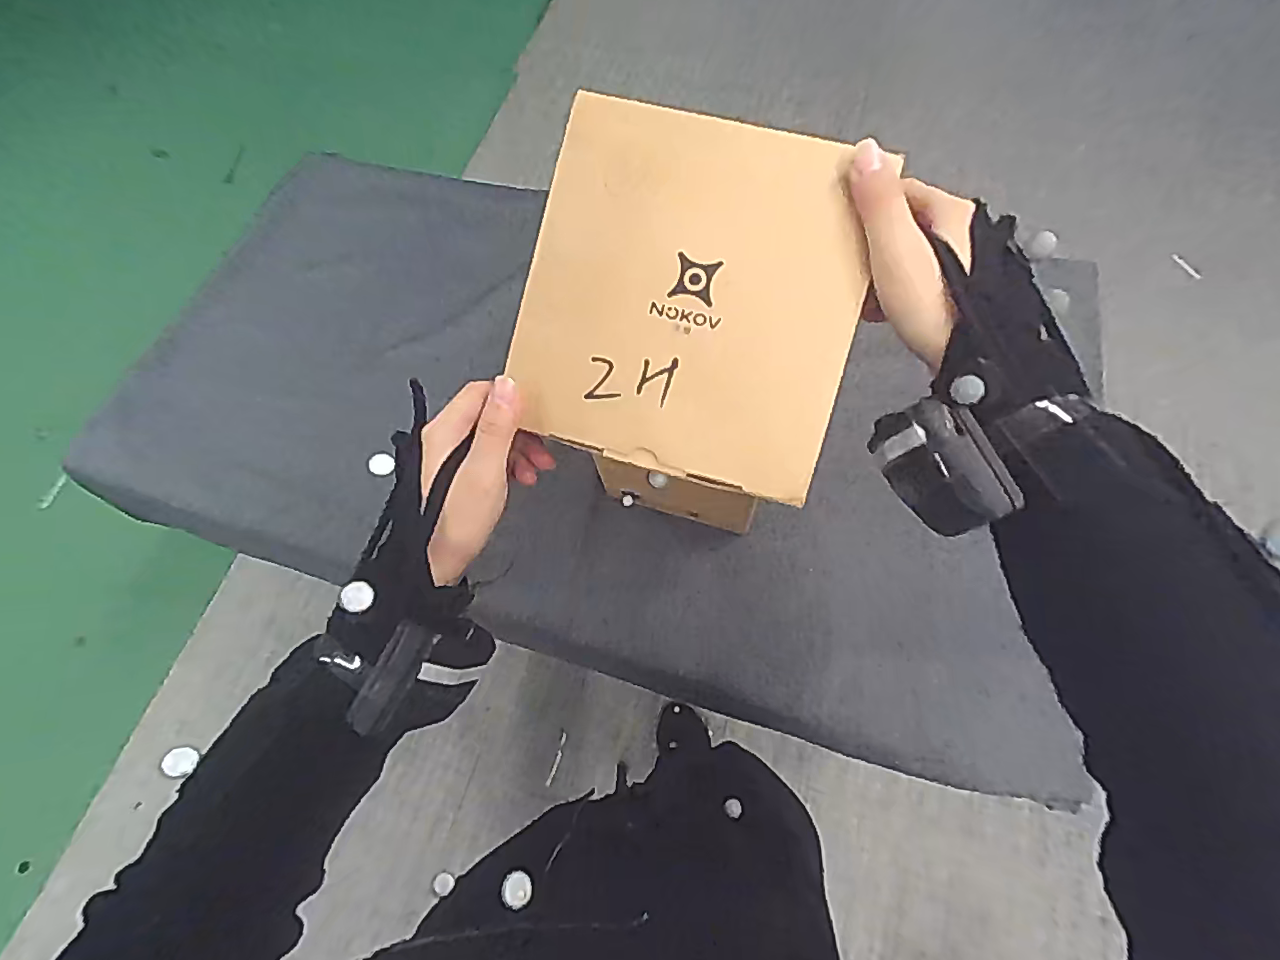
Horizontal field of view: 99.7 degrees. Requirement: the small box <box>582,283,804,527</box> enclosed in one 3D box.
[{"bbox_3d":[0.058,-0.069,0.565,0.168,0.176,0.179,15,68,11],"label":"small box"}]
